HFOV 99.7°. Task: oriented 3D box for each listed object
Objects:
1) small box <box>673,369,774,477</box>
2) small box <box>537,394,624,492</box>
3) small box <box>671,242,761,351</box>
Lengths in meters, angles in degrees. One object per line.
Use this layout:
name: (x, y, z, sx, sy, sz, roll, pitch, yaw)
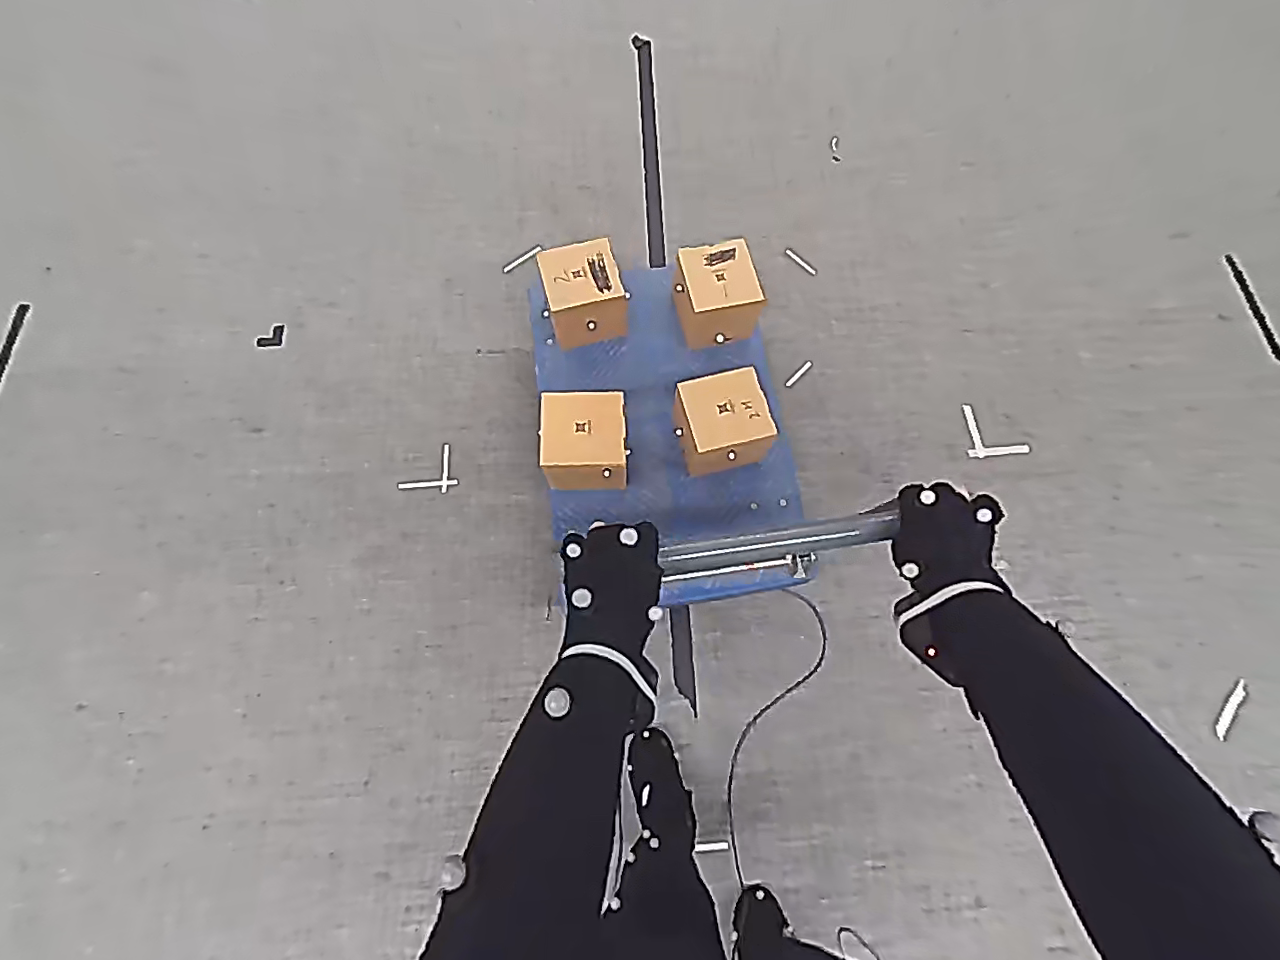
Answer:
small box: (0.175, -0.120, 1.205, 0.179, 0.176, 0.168, -14, 73, -5)
small box: (-0.126, -0.076, 1.185, 0.179, 0.176, 0.168, -2, 71, -3)
small box: (0.175, -0.440, 1.311, 0.168, 0.176, 0.179, -12, 73, -5)
